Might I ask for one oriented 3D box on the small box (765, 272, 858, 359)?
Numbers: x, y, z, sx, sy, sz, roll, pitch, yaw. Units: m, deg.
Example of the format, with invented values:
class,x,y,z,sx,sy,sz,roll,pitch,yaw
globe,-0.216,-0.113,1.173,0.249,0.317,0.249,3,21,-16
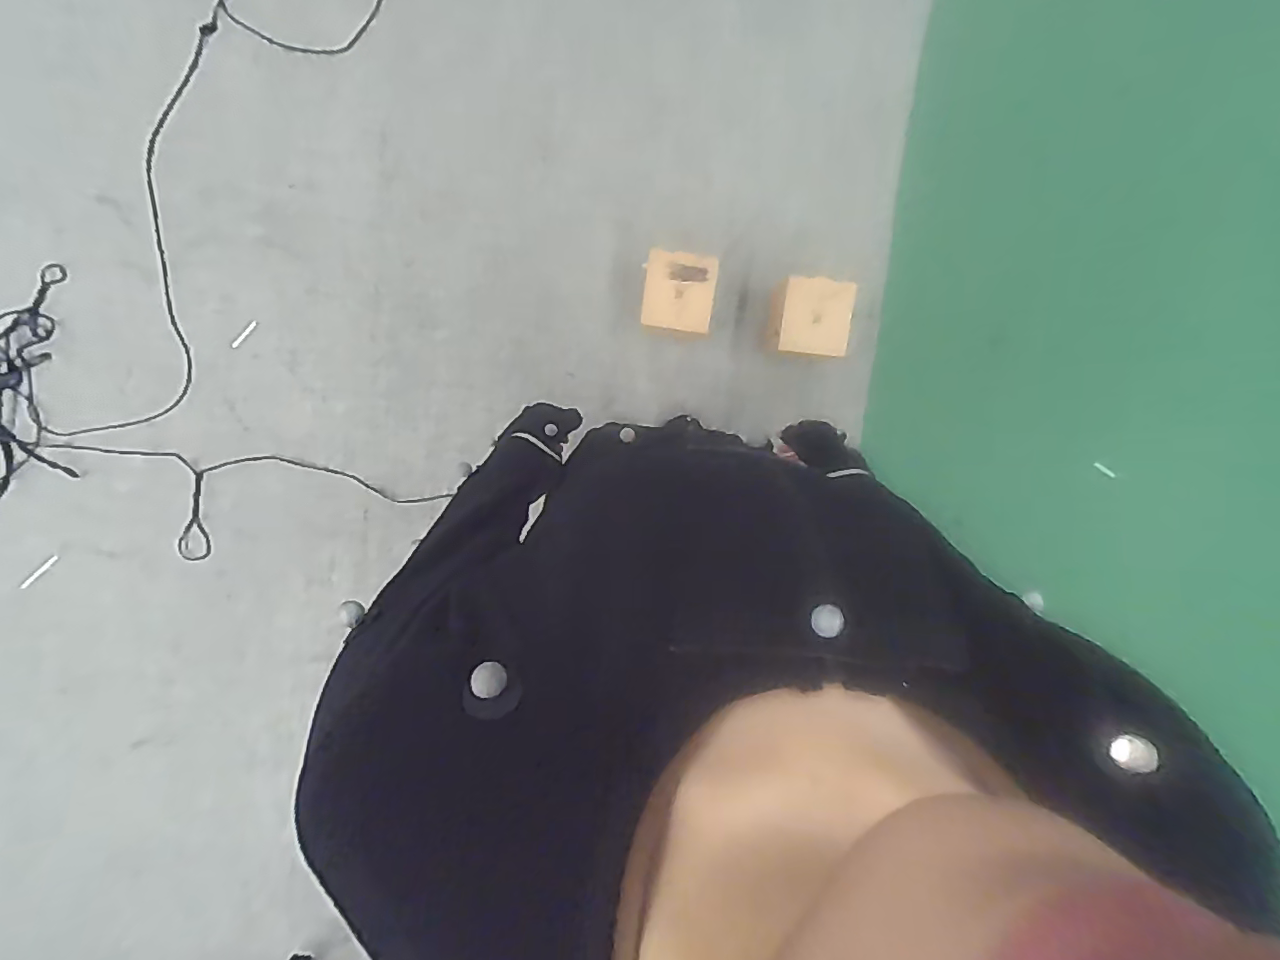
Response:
class,x,y,z,sx,sy,sz,roll,pitch,yaw
small box,0.418,-0.401,1.349,0.168,0.176,0.179,6,97,-3
